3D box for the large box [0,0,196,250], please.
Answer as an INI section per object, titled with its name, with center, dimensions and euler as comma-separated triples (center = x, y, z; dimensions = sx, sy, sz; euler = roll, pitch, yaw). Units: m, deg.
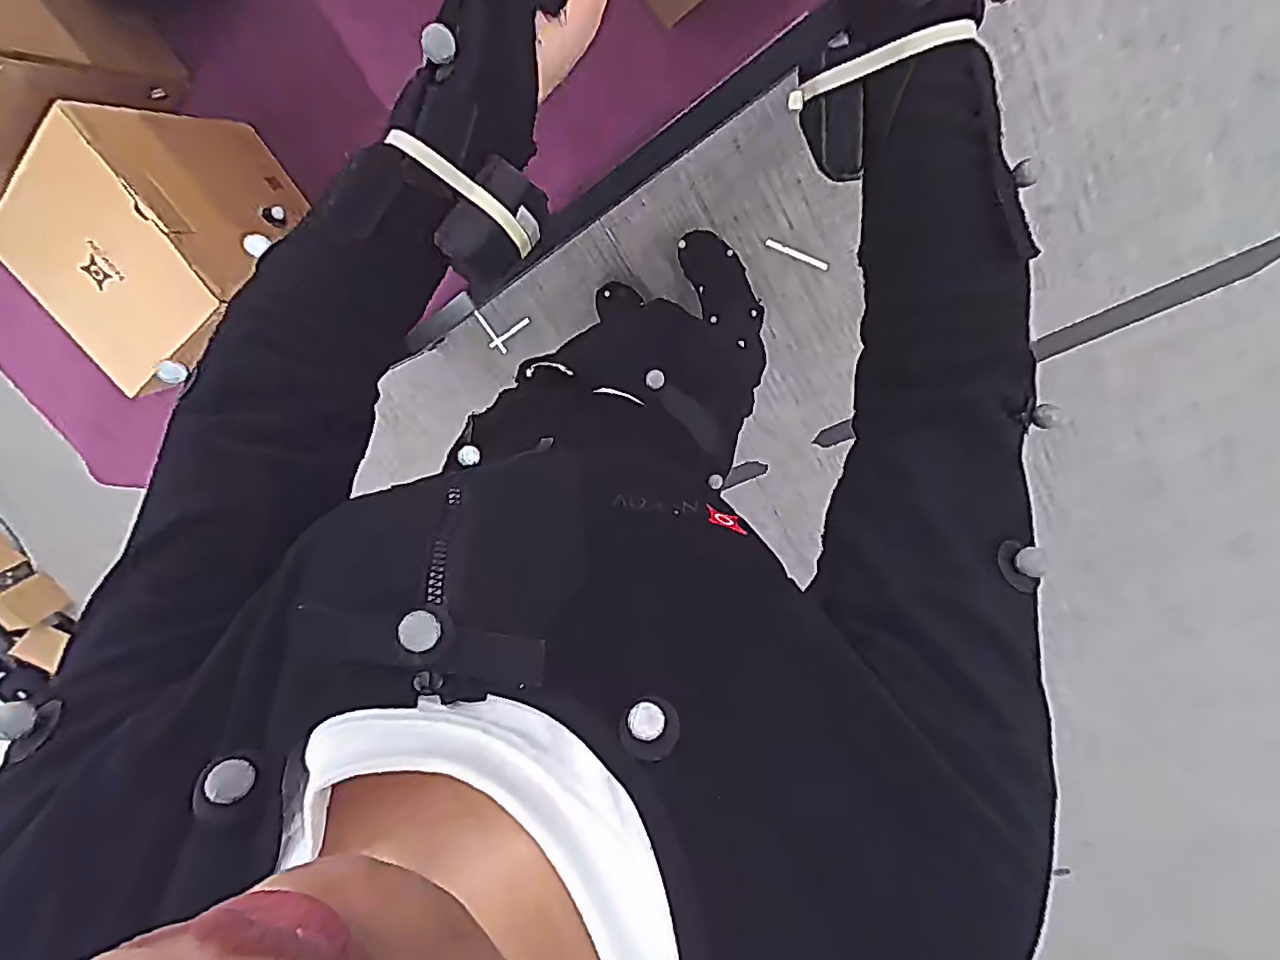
[large box]
center = -0.681, -0.420, 0.393
dimensions = 0.320, 0.320, 0.408
euler = -23, 113, 25
